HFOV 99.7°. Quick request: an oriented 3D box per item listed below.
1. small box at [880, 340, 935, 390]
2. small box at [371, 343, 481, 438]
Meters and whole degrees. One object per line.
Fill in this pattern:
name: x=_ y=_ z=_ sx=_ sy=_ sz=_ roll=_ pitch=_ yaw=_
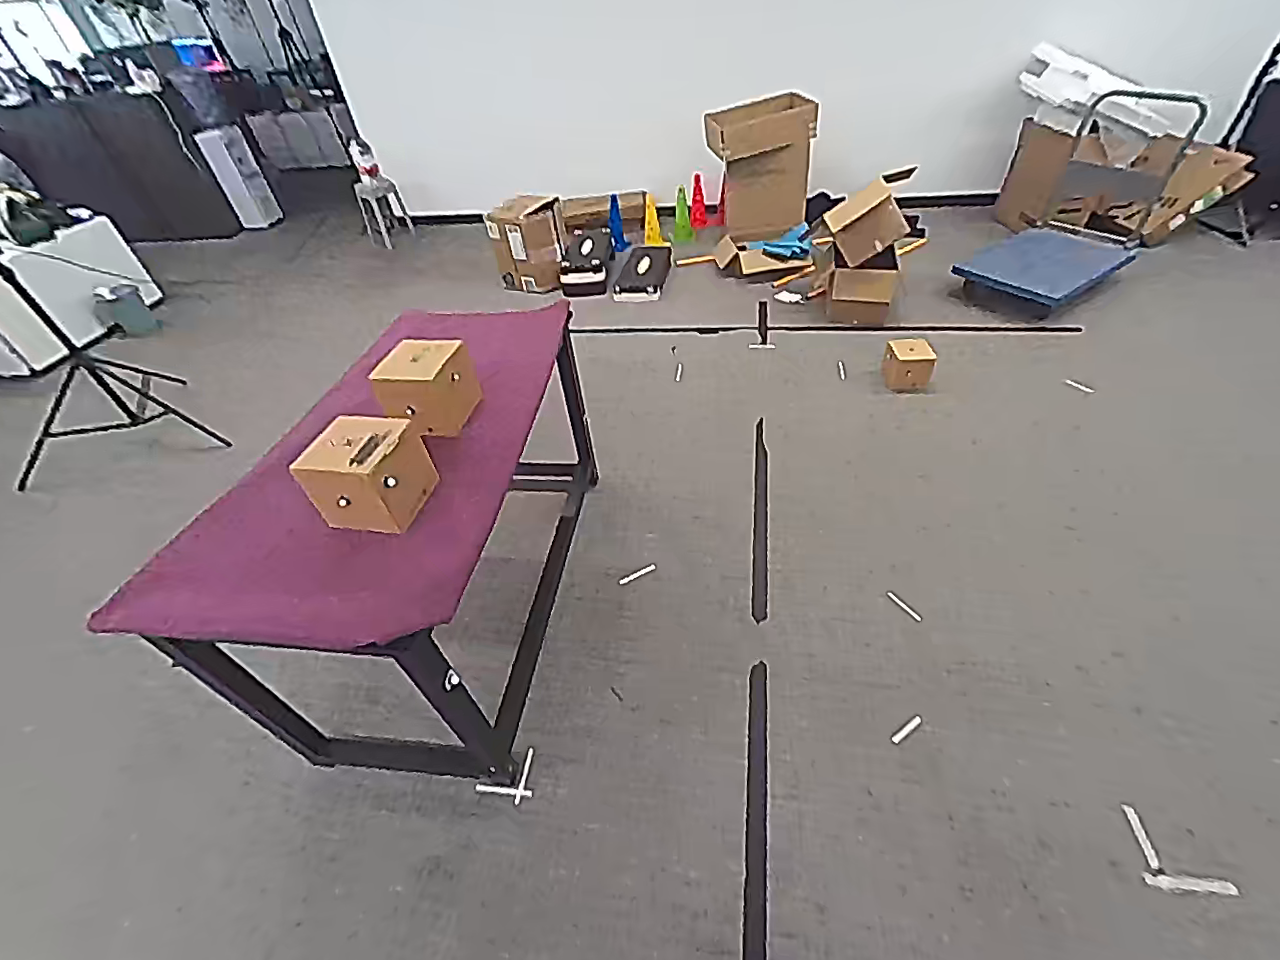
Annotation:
small box: x=1.242 y=-0.531 z=2.522 sx=0.168 sy=0.176 sz=0.179 roll=-3 pitch=43 yaw=4
small box: x=-0.514 y=-0.219 z=1.329 sx=0.168 sy=0.176 sz=0.179 roll=4 pitch=44 yaw=11
